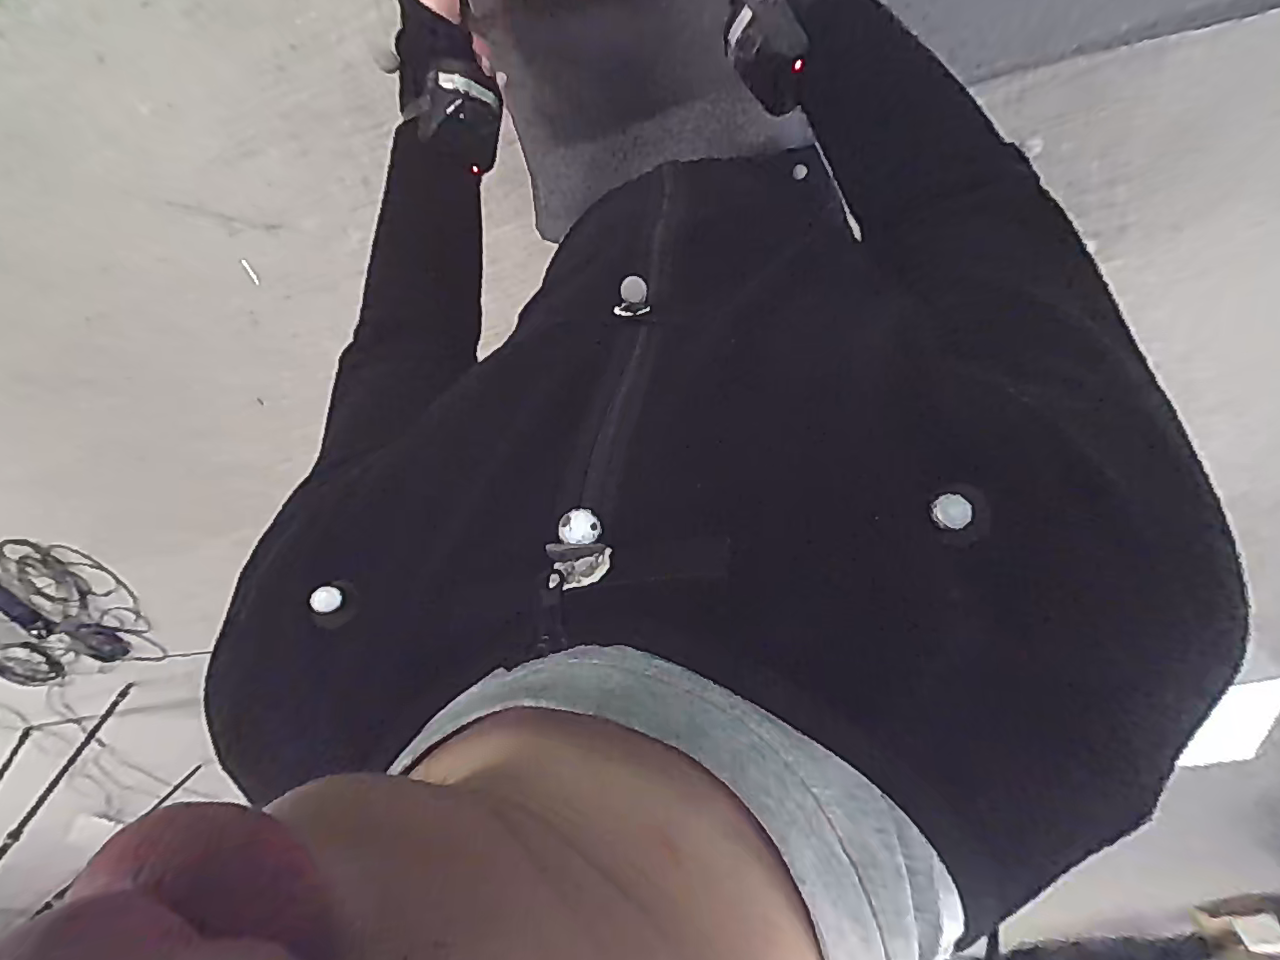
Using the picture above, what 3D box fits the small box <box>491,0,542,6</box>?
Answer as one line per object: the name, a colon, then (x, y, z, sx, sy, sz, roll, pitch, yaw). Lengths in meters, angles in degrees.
small box: (-0.075, -0.512, 0.422, 0.179, 0.176, 0.168, -15, 124, 15)
